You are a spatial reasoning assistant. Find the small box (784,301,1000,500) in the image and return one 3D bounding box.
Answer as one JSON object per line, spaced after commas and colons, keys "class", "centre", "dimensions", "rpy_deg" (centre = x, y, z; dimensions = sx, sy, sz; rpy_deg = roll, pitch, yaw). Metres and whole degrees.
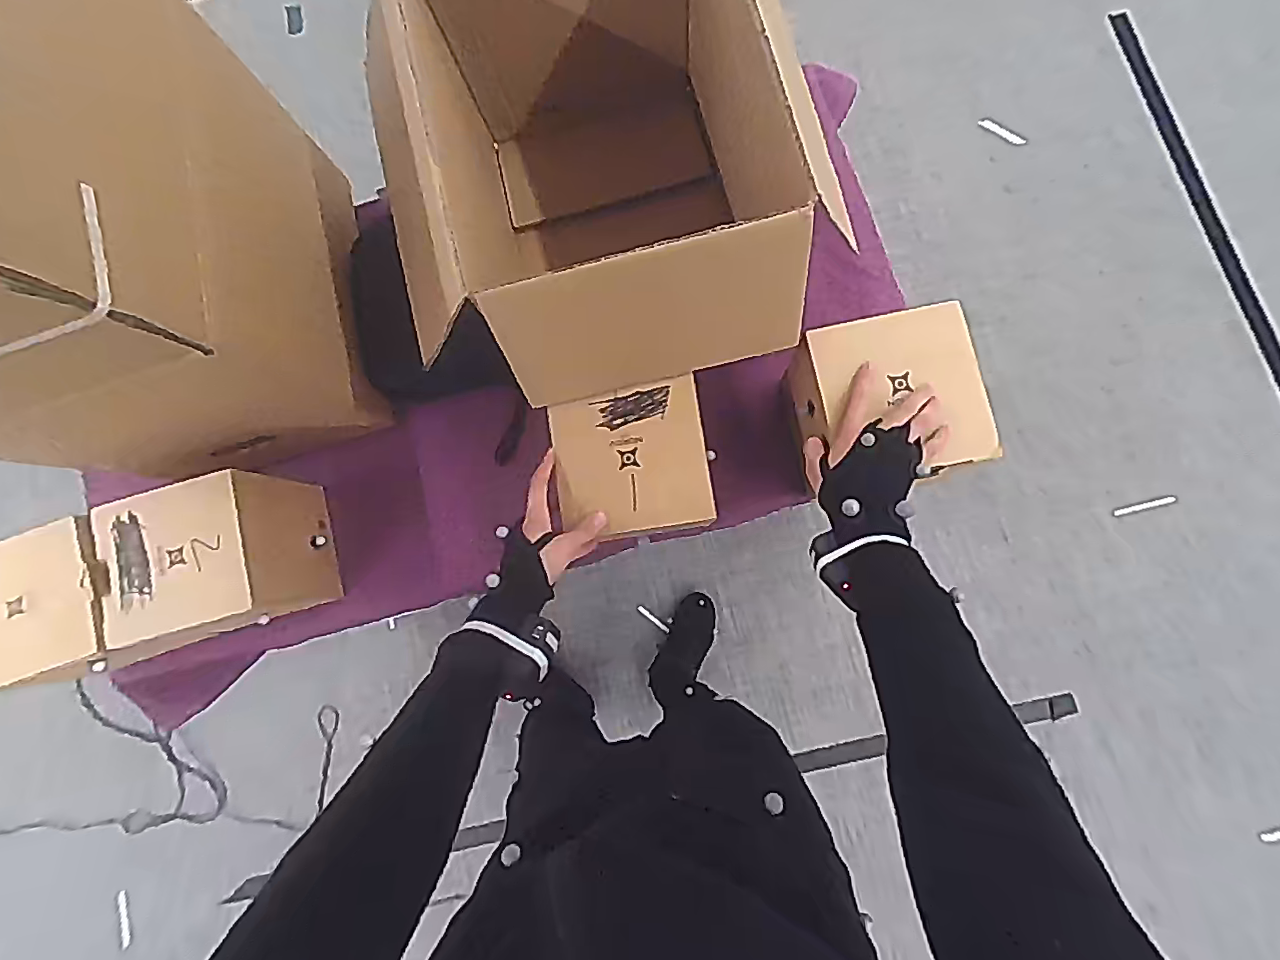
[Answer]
{"class": "small box", "centre": [0.278, -0.081, 0.643], "dimensions": [0.168, 0.176, 0.179], "rpy_deg": [-11, 81, 4]}
